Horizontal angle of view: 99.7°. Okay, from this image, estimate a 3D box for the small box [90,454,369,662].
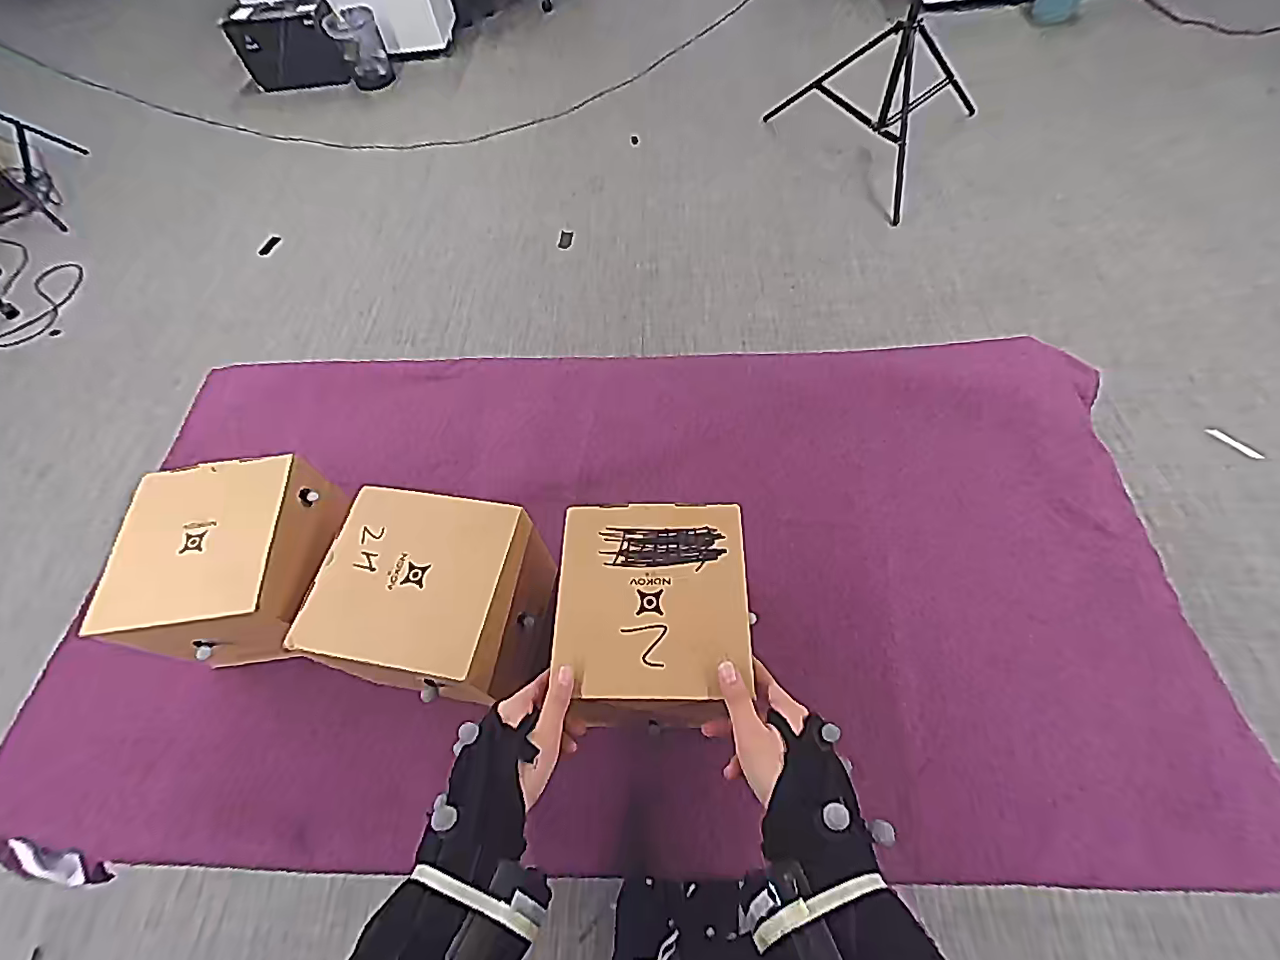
[{"bbox_3d":[-0.431,0.097,0.607,0.168,0.176,0.179,-9,59,0],"label":"small box"}]
